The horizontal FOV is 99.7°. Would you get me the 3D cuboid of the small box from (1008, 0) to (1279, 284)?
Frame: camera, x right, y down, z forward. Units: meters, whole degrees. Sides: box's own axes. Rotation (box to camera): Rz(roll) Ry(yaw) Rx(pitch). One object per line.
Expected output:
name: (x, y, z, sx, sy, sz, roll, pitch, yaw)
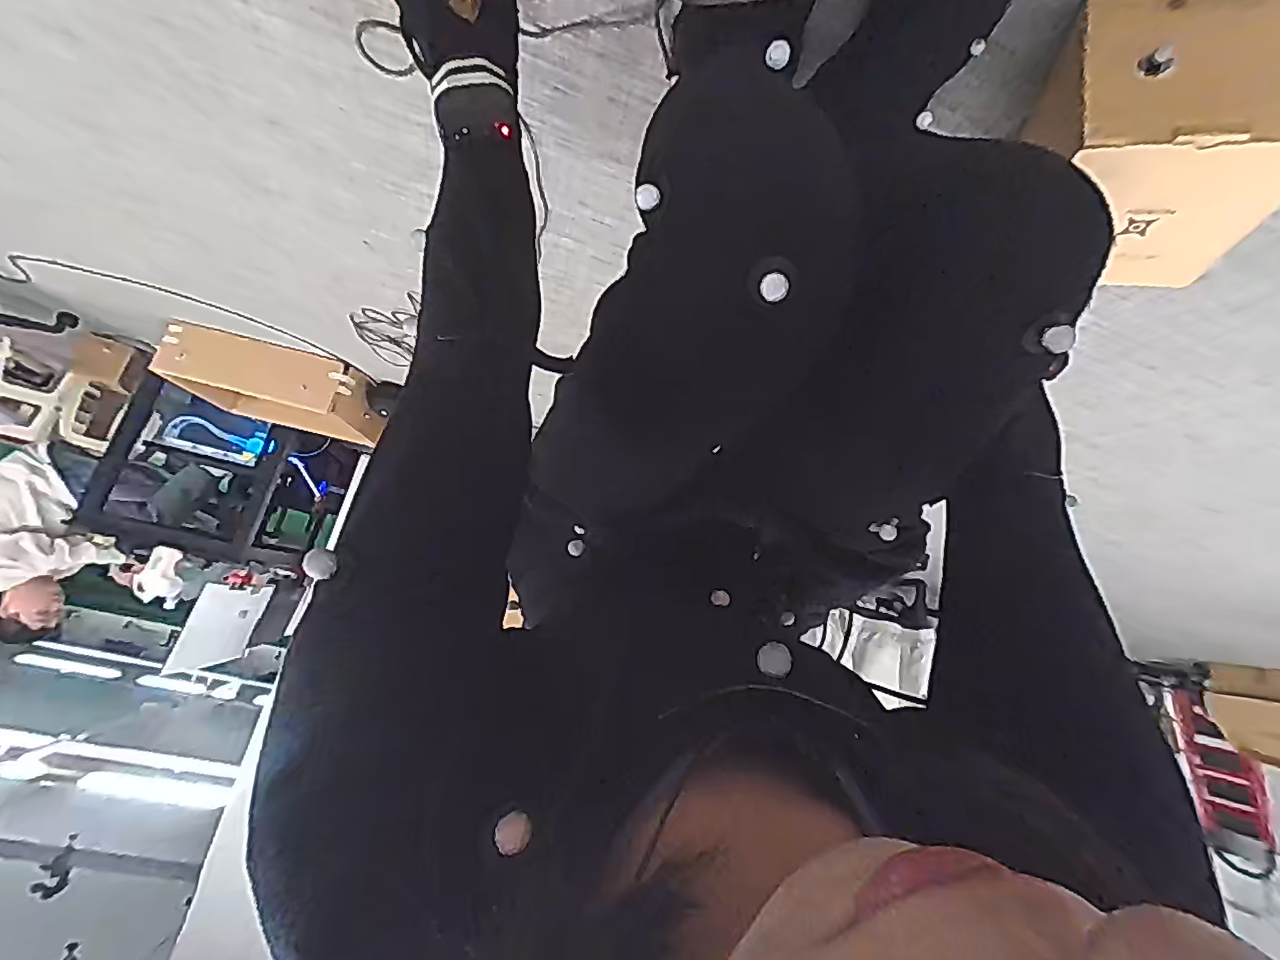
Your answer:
small box: (0.463, -0.306, 0.491, 0.168, 0.176, 0.179, 10, 167, 18)
